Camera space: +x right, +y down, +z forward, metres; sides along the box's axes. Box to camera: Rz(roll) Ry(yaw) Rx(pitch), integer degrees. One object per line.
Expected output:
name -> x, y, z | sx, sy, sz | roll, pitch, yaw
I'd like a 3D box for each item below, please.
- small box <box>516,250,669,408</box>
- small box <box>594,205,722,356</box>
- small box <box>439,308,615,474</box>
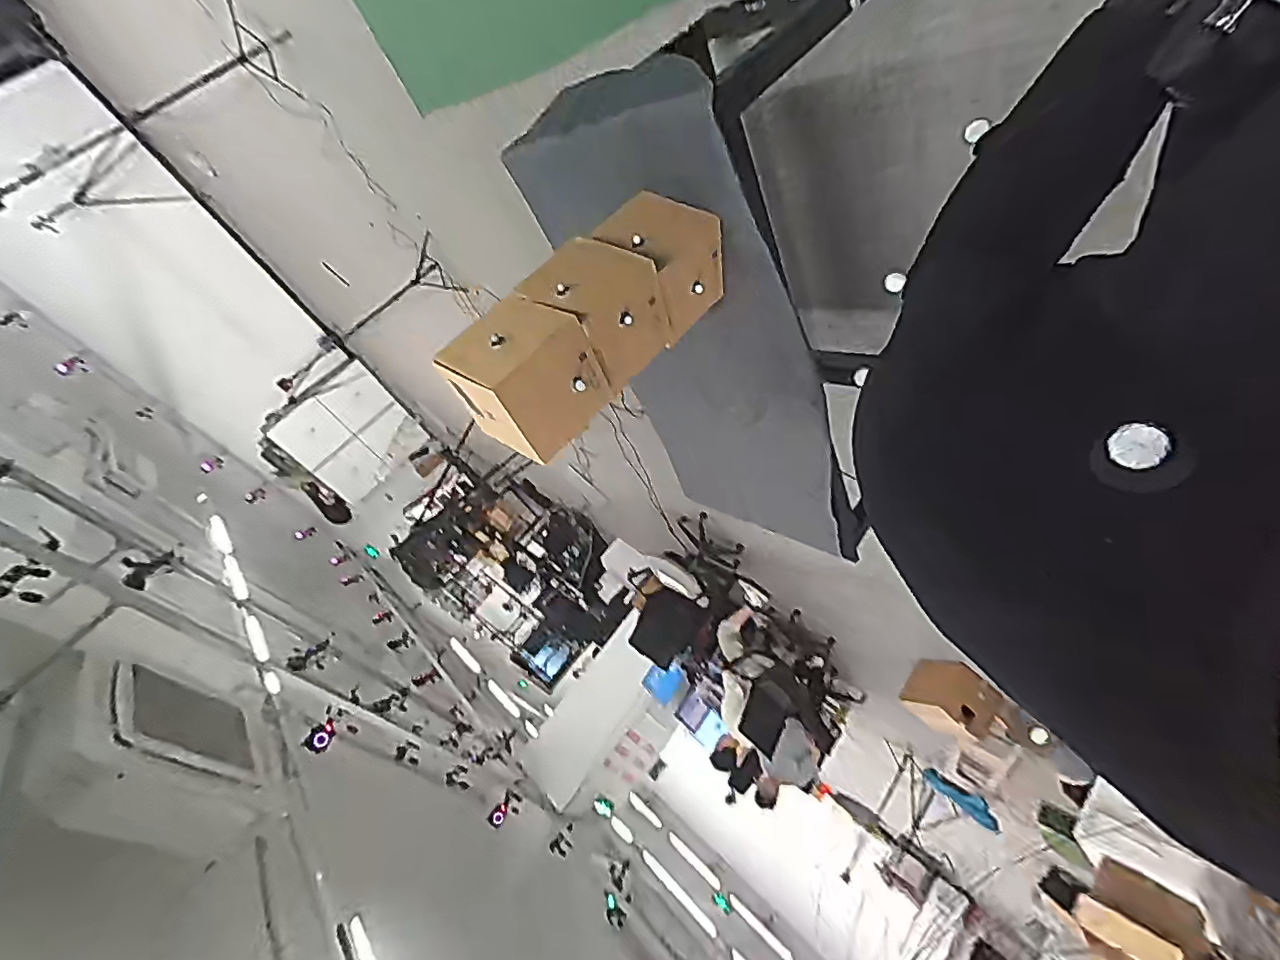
small box -> -0.067, -0.259, 0.910 | 0.179, 0.176, 0.168 | 32, 158, 32
small box -> 0.037, -0.365, 0.980 | 0.179, 0.176, 0.168 | 34, 160, 27
small box -> -0.170, -0.146, 0.850 | 0.179, 0.176, 0.168 | 28, 157, 37
